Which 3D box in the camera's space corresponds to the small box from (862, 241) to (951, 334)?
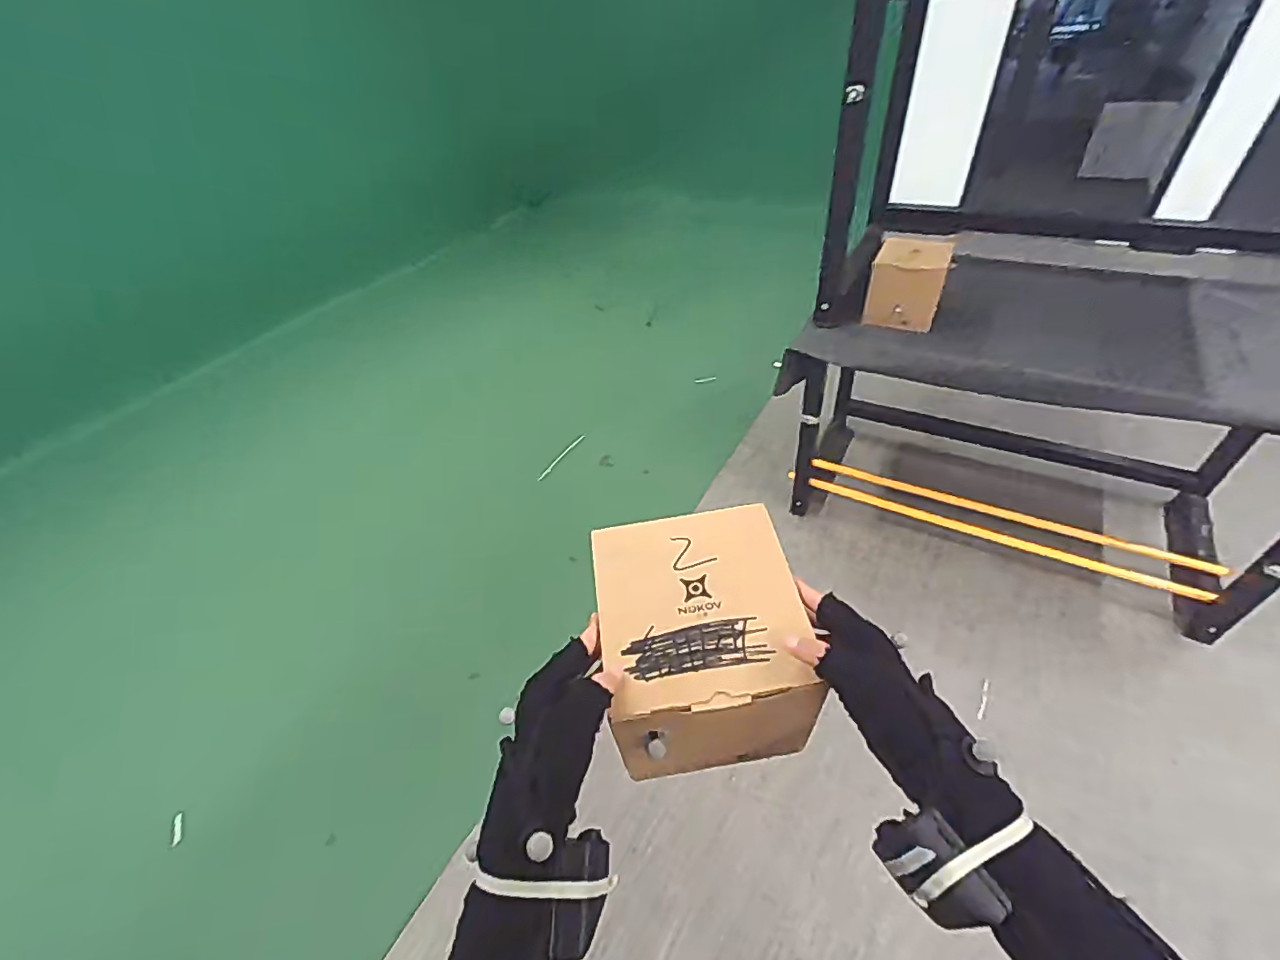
[{"bbox_3d":[0.696,-0.508,1.423,0.168,0.176,0.179,17,48,24],"label":"small box"}]
